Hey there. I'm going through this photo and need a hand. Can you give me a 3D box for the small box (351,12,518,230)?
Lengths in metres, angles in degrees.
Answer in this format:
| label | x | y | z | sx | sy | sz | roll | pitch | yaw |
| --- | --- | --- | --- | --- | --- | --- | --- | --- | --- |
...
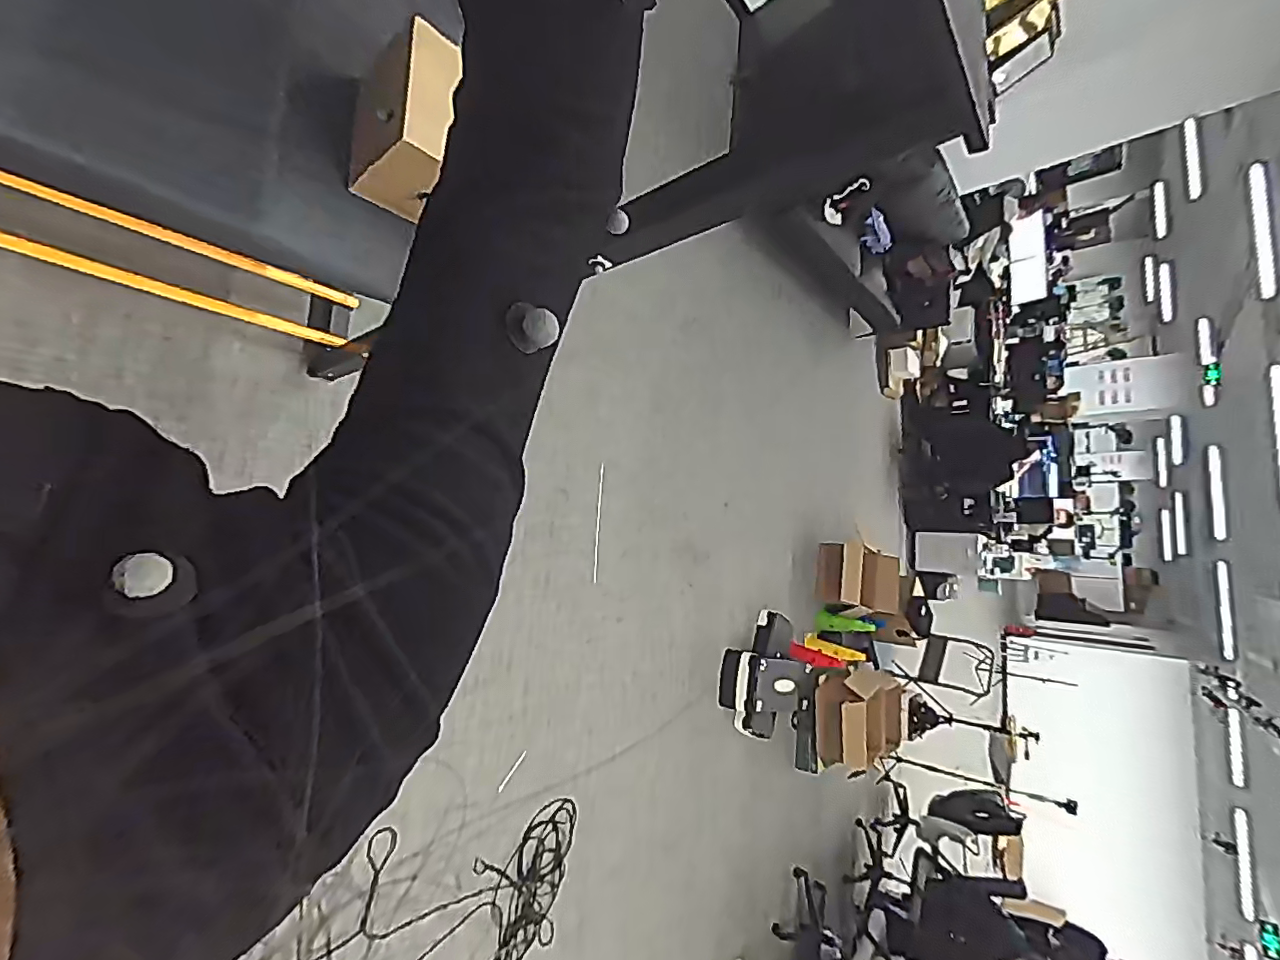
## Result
| label | x | y | z | sx | sy | sz | roll | pitch | yaw |
| --- | --- | --- | --- | --- | --- | --- | --- | --- | --- |
| small box | -0.300 | -0.499 | 0.788 | 0.168 | 0.176 | 0.179 | 10 | 80 | -50 |
